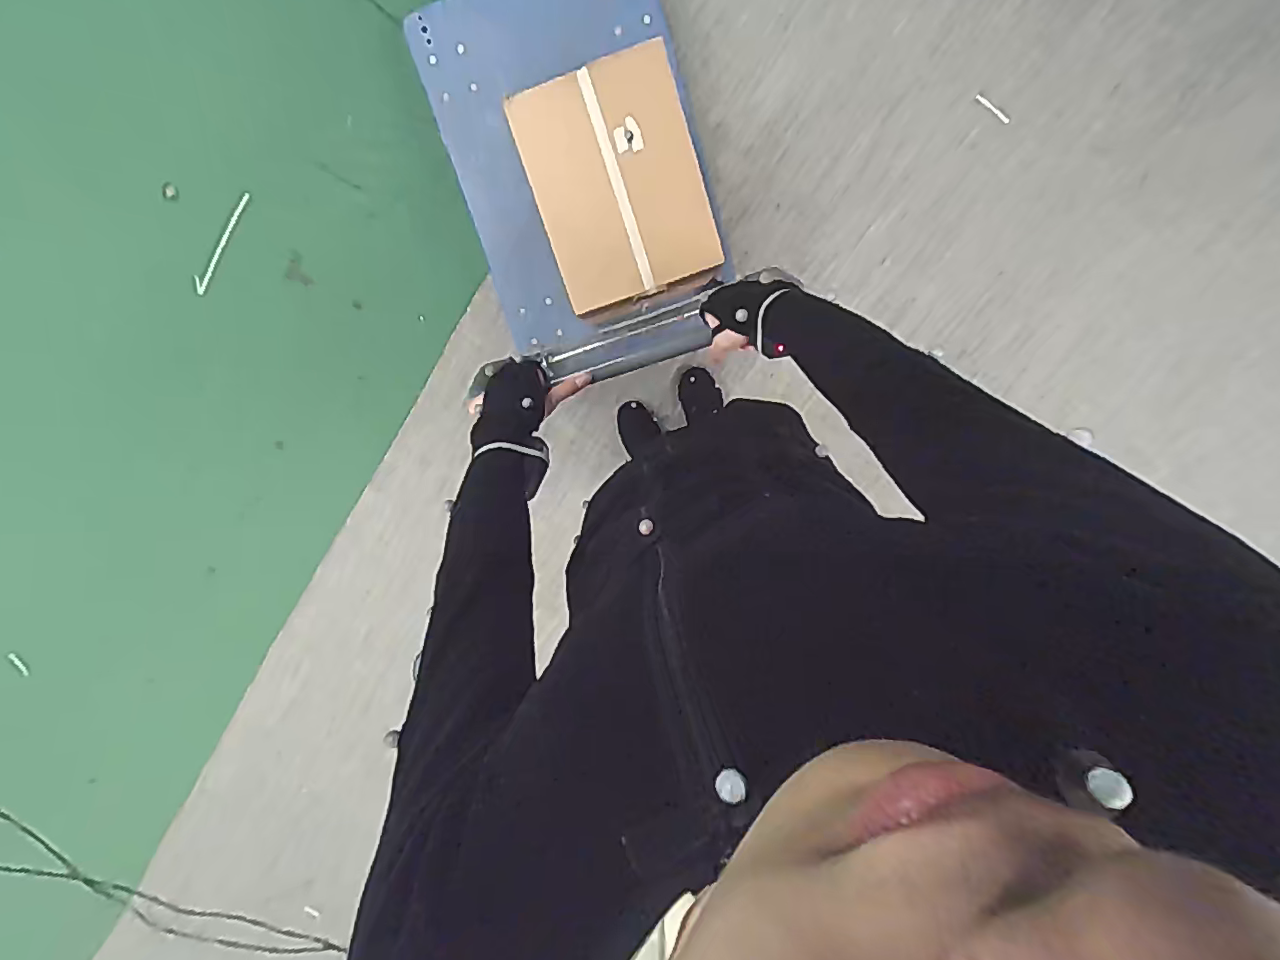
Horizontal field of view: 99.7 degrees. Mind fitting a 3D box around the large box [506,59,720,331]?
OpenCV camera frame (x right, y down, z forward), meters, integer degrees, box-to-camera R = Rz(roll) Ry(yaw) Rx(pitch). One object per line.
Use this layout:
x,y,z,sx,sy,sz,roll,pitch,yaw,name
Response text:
-0.042,-0.581,1.194,0.320,0.320,0.408,-18,101,4,large box
